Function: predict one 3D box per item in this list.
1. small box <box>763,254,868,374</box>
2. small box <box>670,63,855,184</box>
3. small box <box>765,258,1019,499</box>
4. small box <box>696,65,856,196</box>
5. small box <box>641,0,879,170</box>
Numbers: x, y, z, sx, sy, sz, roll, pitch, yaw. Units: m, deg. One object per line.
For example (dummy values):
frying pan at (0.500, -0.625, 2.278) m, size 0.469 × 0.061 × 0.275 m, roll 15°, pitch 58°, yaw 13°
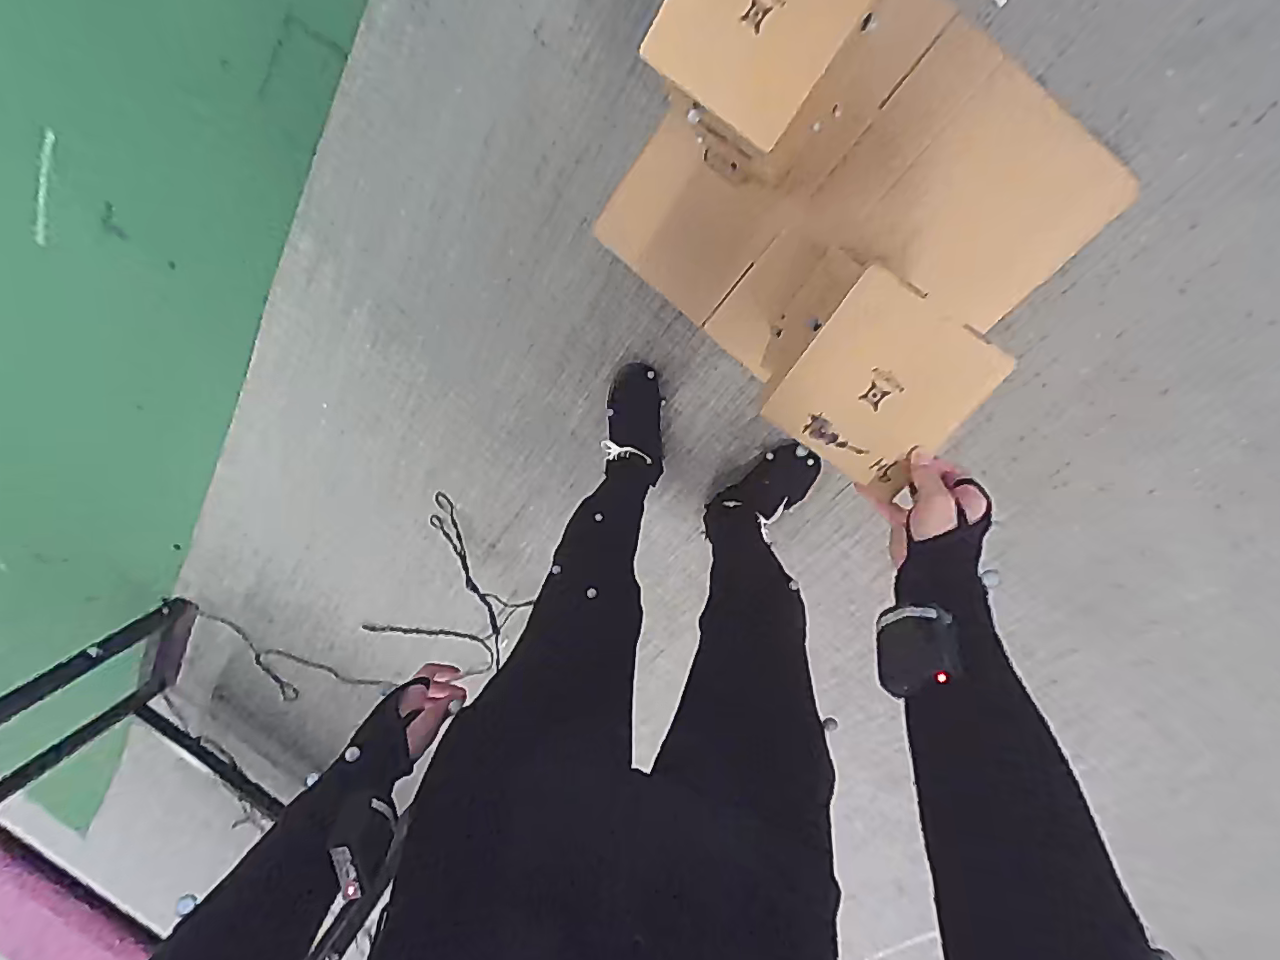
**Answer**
small box at (0.303, -0.209, 0.795) m, size 0.168 × 0.176 × 0.179 m, roll 34°, pitch 117°, yaw -1°
small box at (0.168, -0.522, 0.711) m, size 0.168 × 0.176 × 0.179 m, roll 36°, pitch 116°, yaw -1°
small box at (0.251, -0.113, 0.597) m, size 0.168 × 0.176 × 0.179 m, roll 35°, pitch 108°, yaw 1°
small box at (0.210, -0.582, 0.858) m, size 0.168 × 0.176 × 0.179 m, roll 33°, pitch 117°, yaw 0°
small box at (0.131, -0.459, 0.566) m, size 0.168 × 0.176 × 0.179 m, roll 37°, pitch 116°, yaw 0°
